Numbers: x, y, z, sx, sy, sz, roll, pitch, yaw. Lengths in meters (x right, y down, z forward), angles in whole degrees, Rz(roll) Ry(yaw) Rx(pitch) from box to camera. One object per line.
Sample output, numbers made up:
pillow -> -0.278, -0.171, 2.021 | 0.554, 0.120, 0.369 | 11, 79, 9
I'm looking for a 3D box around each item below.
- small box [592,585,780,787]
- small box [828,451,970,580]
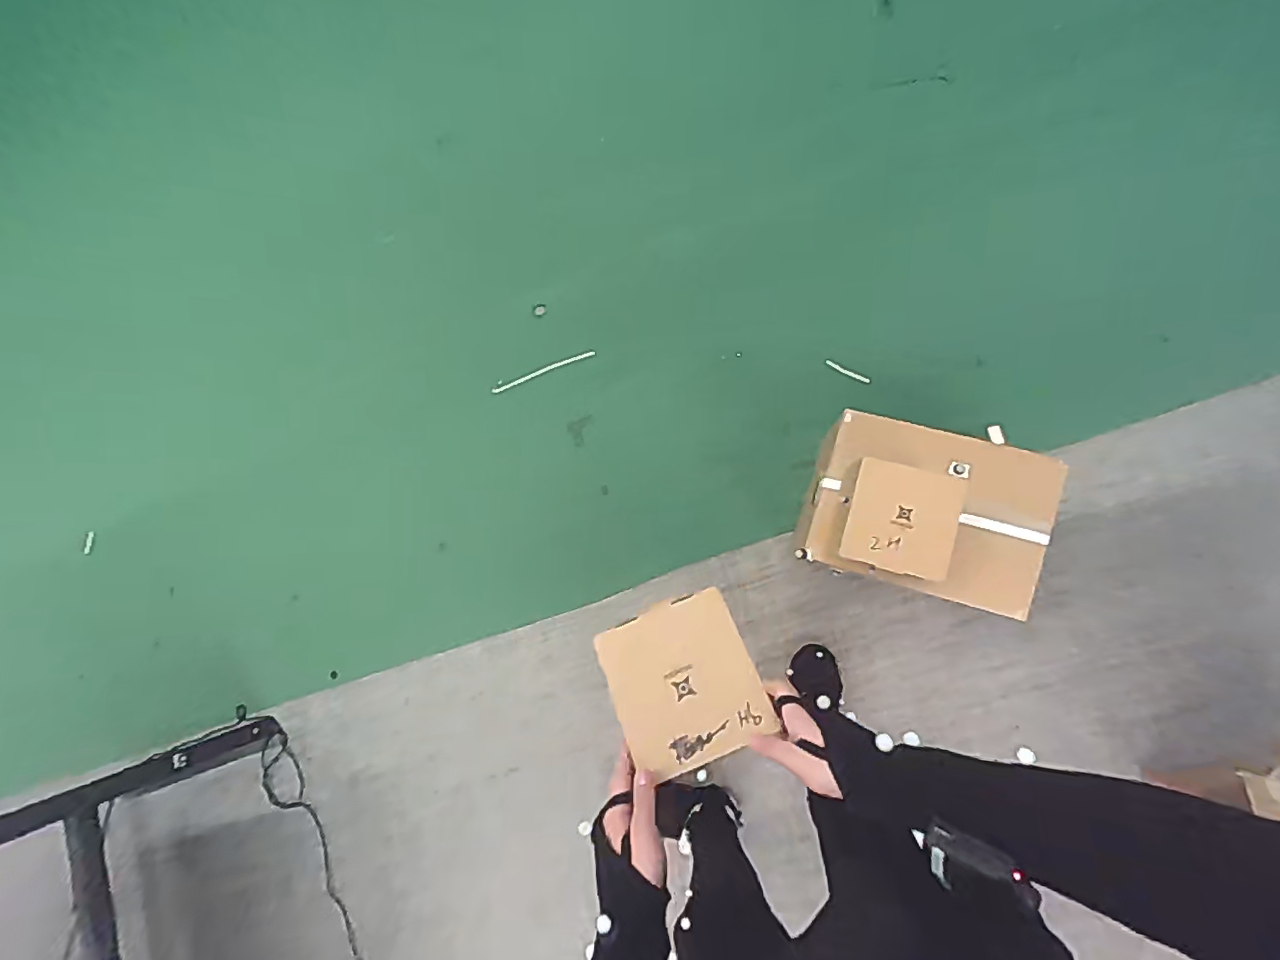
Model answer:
small box -> 0.056, 0.261, 0.680 | 0.168, 0.176, 0.179 | -23, 63, -2
small box -> 0.443, 0.063, 0.953 | 0.168, 0.176, 0.179 | 15, 87, 12
